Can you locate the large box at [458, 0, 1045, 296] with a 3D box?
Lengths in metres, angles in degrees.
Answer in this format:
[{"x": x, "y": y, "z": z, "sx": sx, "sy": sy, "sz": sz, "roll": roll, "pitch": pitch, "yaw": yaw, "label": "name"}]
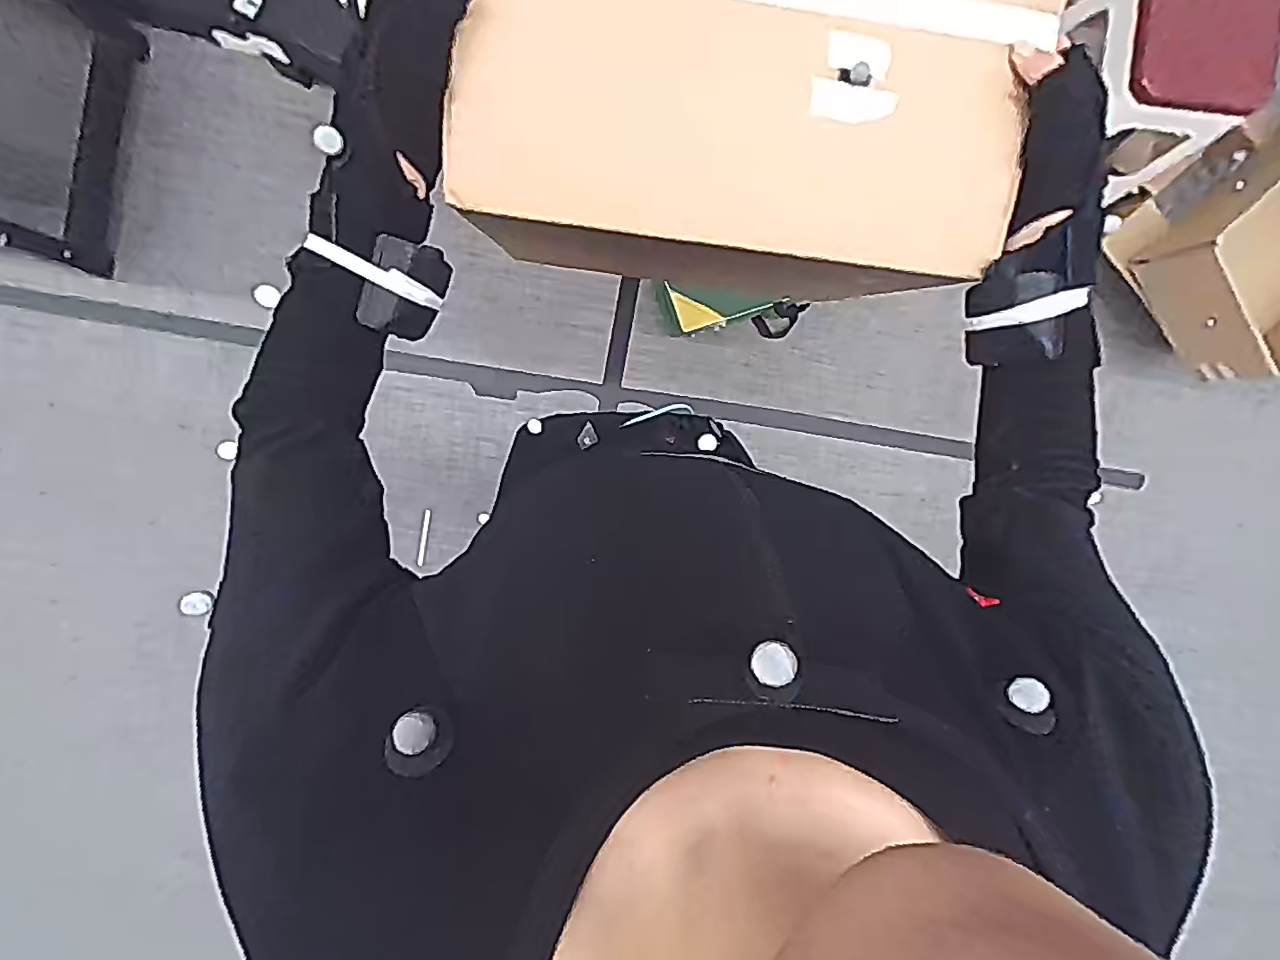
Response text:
[{"x": 0.068, "y": -0.362, "z": 0.508, "sx": 0.408, "sy": 0.320, "sz": 0.320, "roll": 5, "pitch": 106, "yaw": -7, "label": "large box"}]
